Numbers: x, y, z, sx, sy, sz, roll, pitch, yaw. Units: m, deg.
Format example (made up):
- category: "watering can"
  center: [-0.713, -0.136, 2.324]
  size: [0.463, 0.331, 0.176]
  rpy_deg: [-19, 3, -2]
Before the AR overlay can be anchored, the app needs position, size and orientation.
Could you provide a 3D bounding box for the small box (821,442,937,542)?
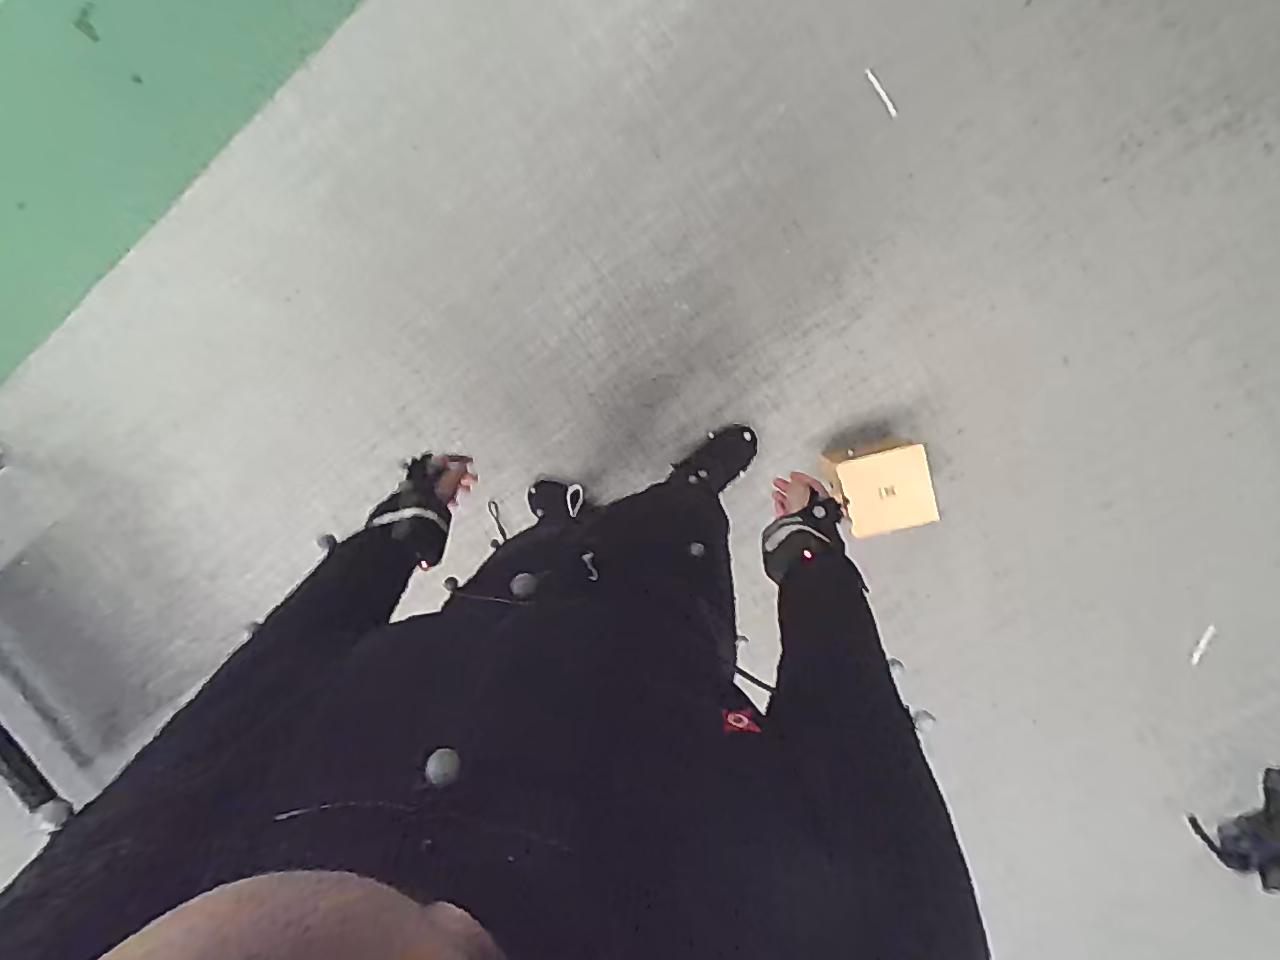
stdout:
- category: "small box"
  center: [0.516, 0.019, 1.187]
  size: [0.179, 0.176, 0.168]
  rpy_deg: [-15, 98, 10]
